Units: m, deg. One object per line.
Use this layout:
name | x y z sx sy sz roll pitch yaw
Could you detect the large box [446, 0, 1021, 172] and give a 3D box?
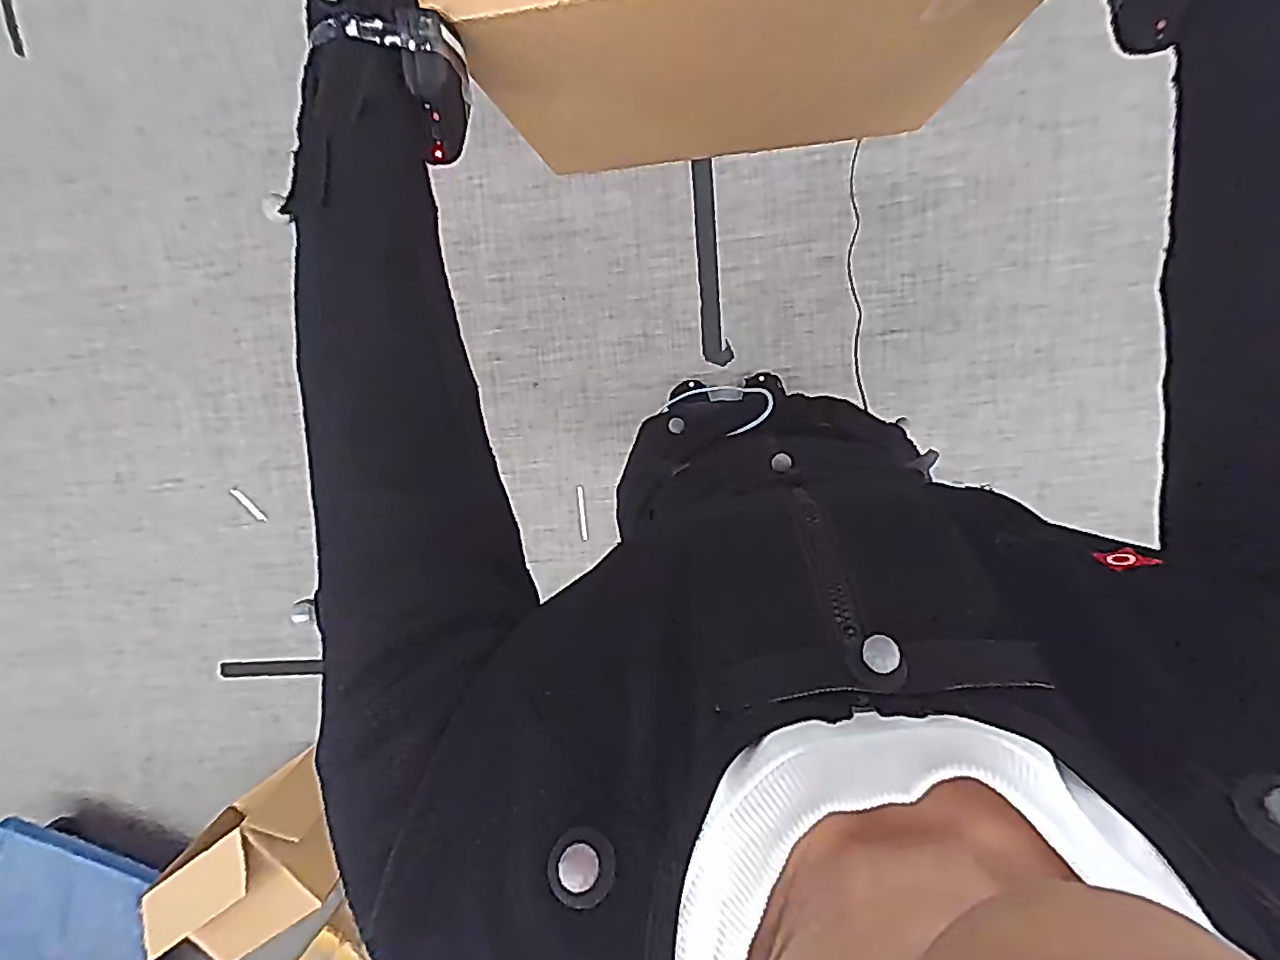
large box | 0.071 -0.485 0.431 0.408 0.320 0.320 -4 103 7
